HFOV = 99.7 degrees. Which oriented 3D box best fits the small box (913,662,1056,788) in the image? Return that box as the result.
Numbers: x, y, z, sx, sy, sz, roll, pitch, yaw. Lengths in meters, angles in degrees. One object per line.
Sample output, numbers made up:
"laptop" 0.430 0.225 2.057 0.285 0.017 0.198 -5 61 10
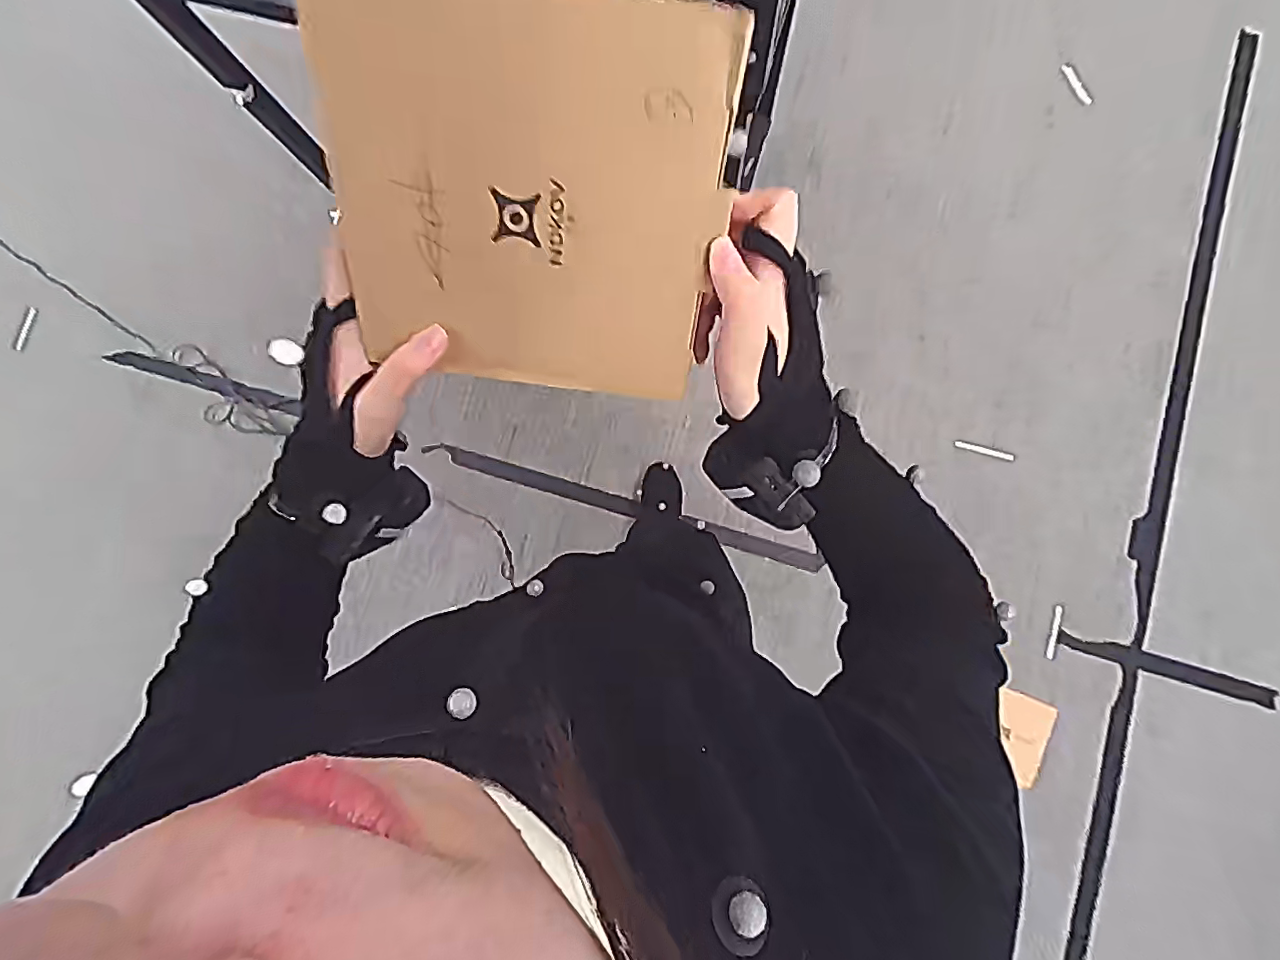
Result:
"small box" 0.719 0.506 1.150 0.179 0.176 0.168 22 87 5
